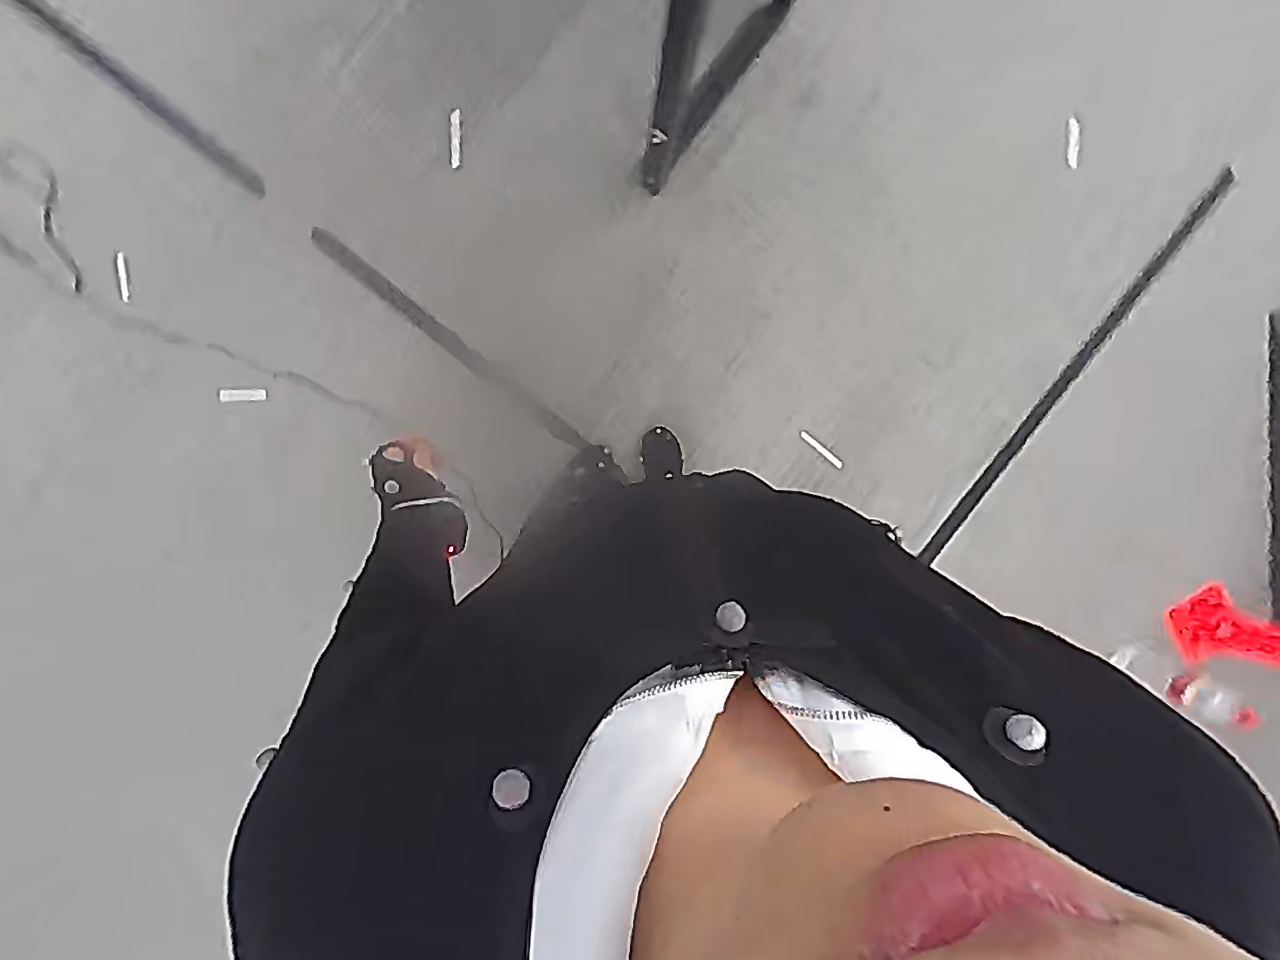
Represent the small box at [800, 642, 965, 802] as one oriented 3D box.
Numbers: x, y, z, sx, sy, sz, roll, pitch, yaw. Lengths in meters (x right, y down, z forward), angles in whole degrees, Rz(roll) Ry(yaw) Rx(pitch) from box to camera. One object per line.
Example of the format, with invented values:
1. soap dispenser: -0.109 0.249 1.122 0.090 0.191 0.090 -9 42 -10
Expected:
1. small box: 0.423 0.420 0.977 0.179 0.176 0.168 41 93 -7
